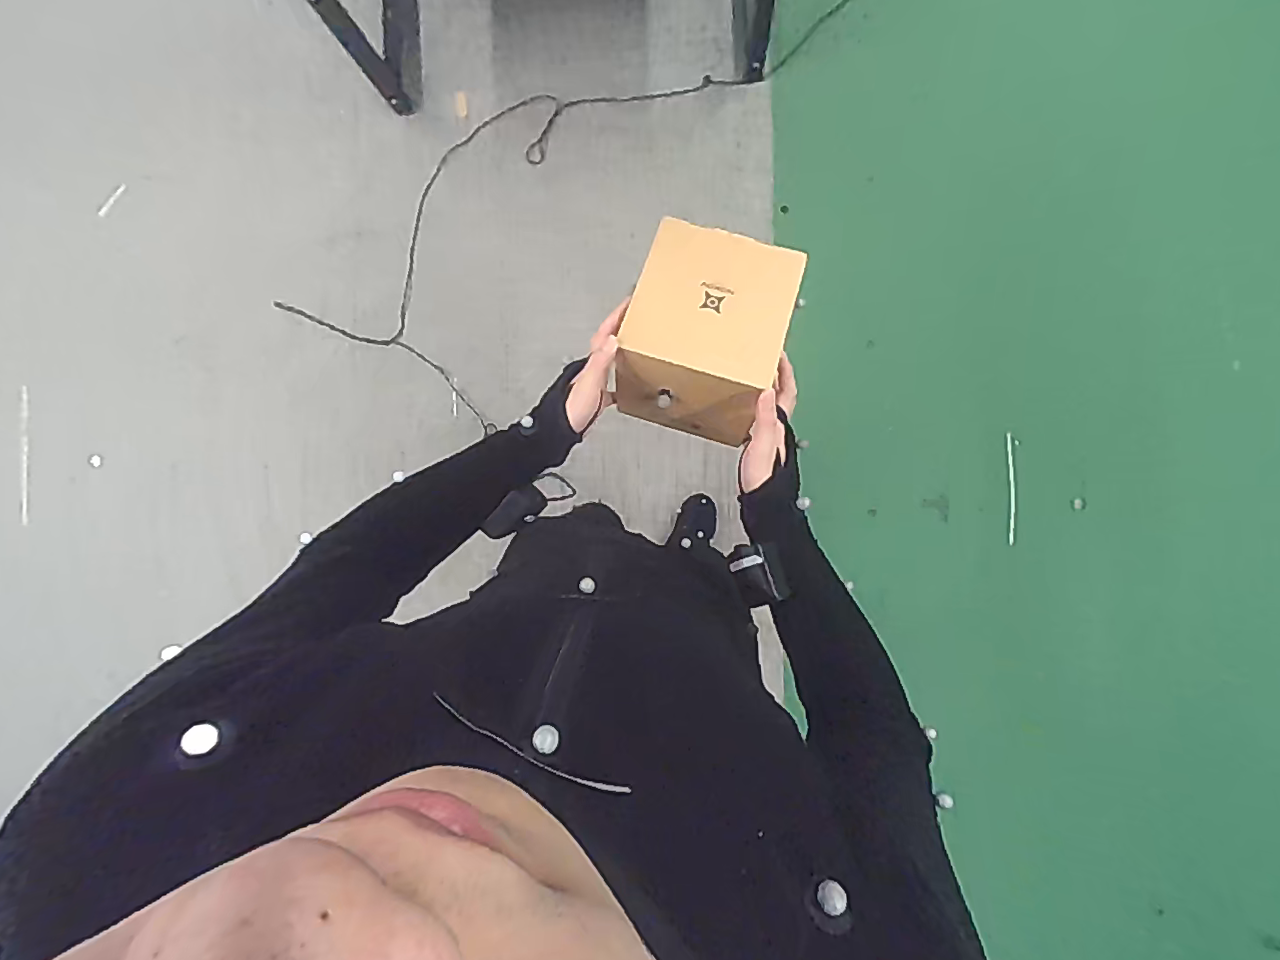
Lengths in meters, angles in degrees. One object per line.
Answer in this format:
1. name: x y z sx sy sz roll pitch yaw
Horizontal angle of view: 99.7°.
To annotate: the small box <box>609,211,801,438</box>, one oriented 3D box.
1. small box: 0.071 -0.170 0.638 0.168 0.176 0.179 17 73 4
